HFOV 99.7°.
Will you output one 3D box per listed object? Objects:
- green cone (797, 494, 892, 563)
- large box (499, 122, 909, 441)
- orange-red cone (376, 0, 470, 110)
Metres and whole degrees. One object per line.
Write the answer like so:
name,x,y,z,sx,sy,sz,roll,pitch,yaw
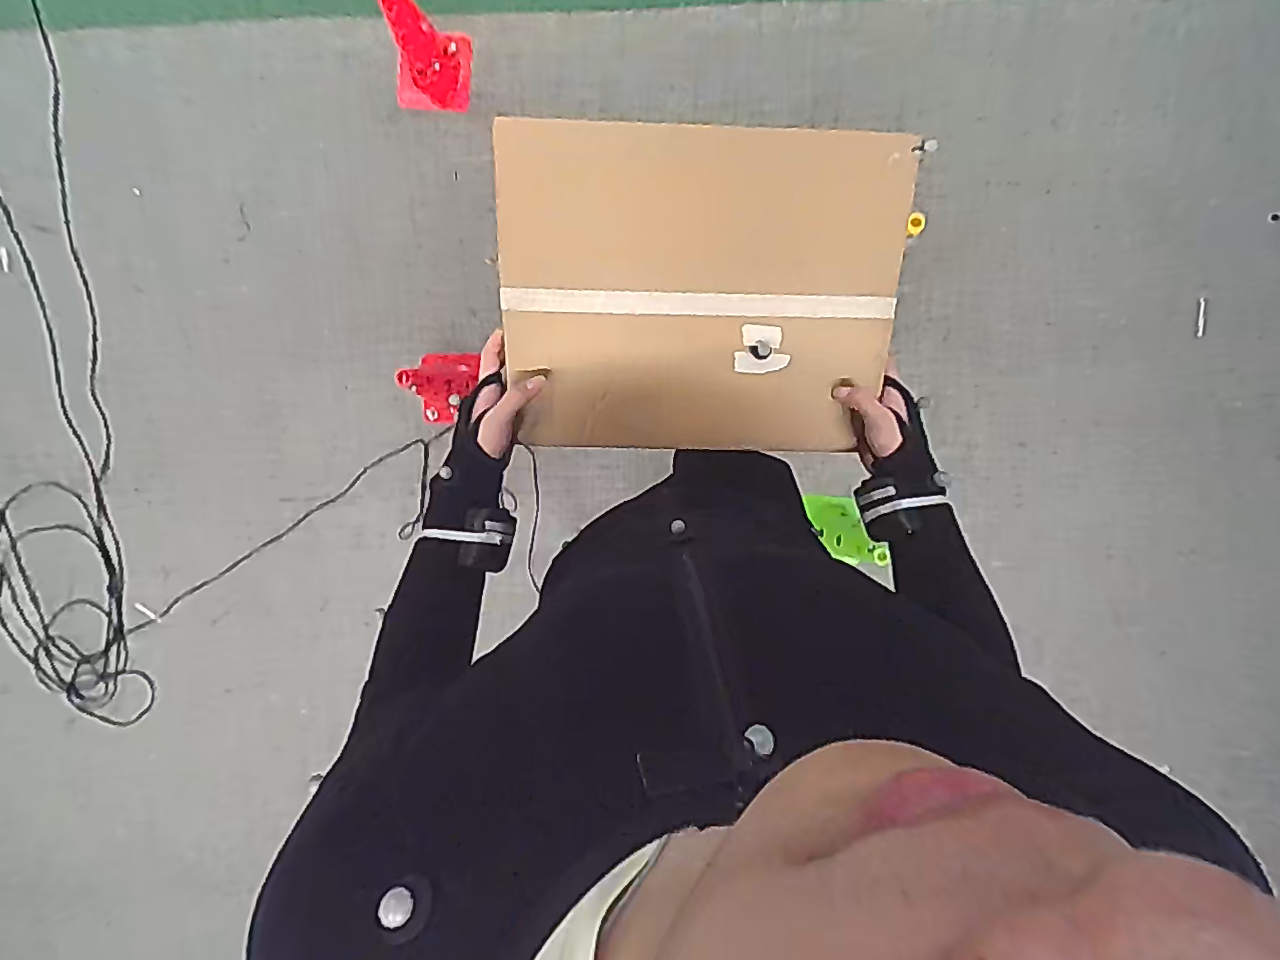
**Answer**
green cone,0.575,0.159,1.447,0.200,0.368,0.202,4,94,-1
large box,0.056,-0.241,0.704,0.408,0.320,0.320,0,110,-3
orange-red cone,-0.578,-1.115,1.321,0.199,0.360,0.198,6,95,1
